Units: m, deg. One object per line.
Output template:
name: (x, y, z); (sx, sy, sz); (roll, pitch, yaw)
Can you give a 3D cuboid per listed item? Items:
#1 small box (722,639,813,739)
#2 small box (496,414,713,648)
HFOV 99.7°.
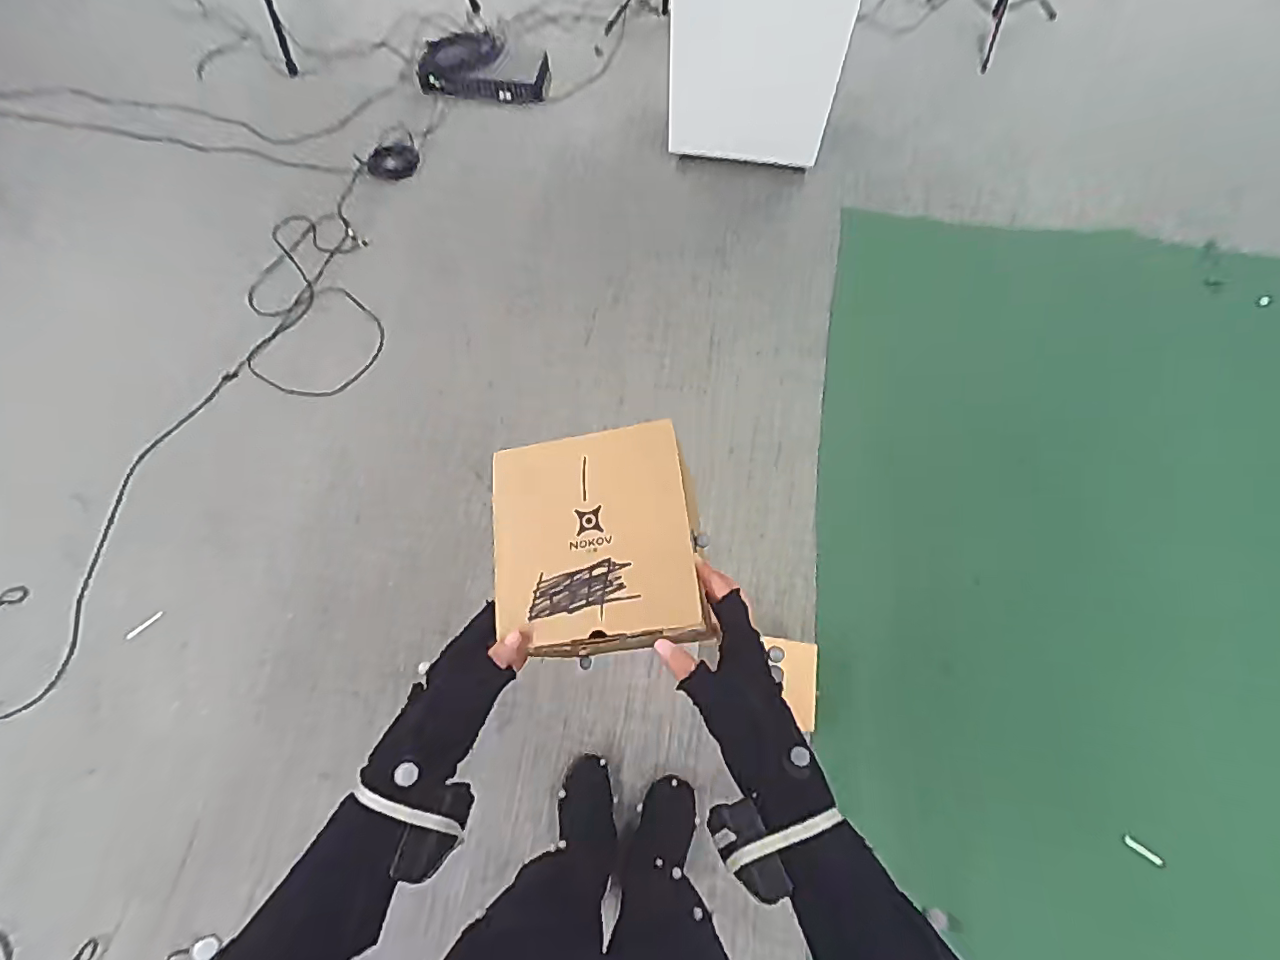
small box: (0.279, 0.467, 1.206); (0.168, 0.176, 0.179); (8, 67, 5)
small box: (-0.025, 0.062, 0.515); (0.168, 0.176, 0.179); (-9, 68, 7)
